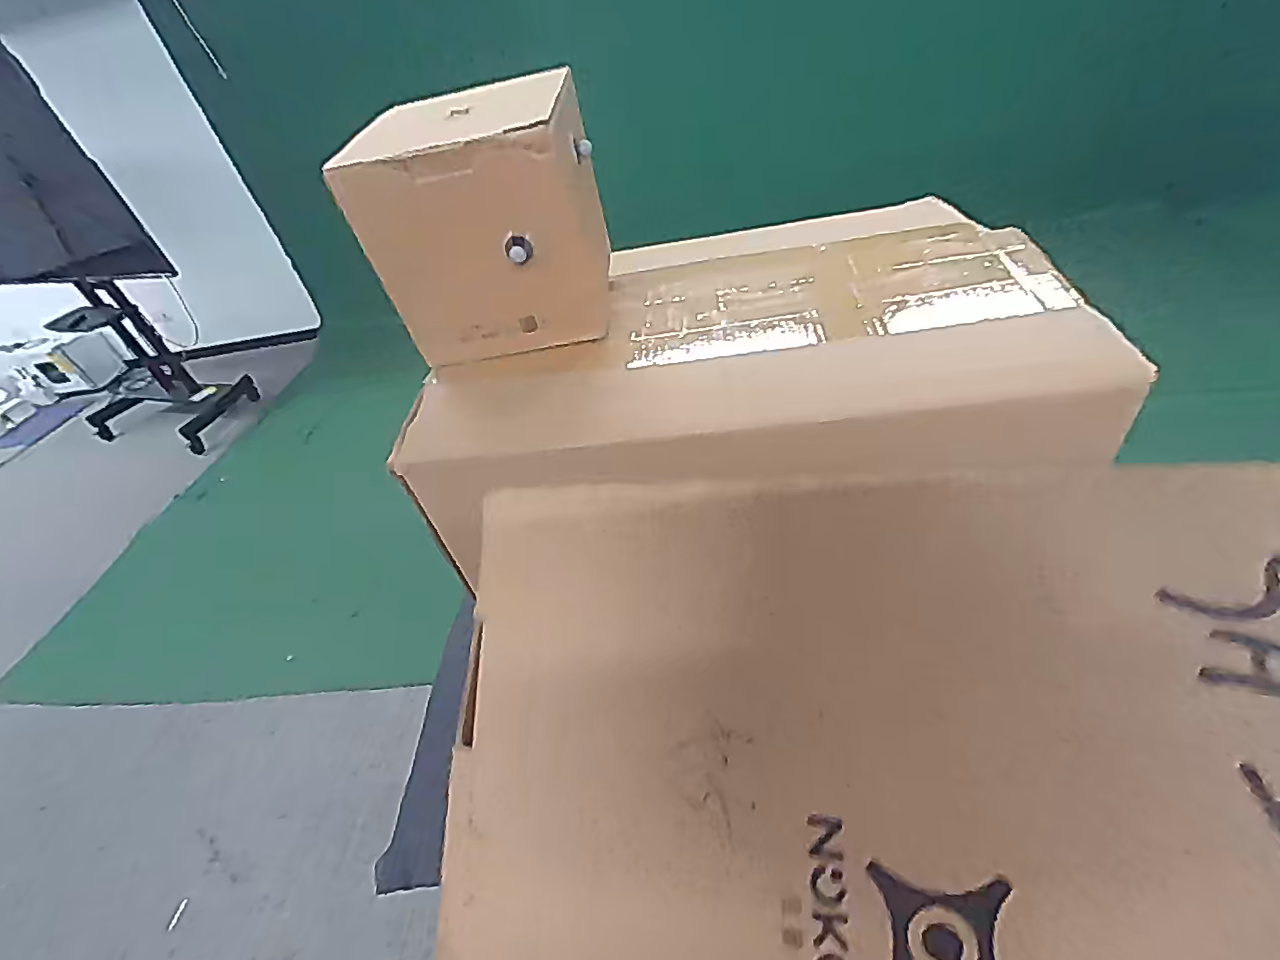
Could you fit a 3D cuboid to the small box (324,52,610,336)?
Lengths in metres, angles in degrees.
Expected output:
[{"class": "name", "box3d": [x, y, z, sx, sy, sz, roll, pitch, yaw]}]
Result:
[{"class": "small box", "box3d": [-0.122, -0.238, 0.468, 0.168, 0.176, 0.179, -7, 44, 5]}]

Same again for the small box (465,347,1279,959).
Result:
[{"class": "small box", "box3d": [0.071, 0.075, 0.163, 0.179, 0.176, 0.168, -1, 78, 13]}]
